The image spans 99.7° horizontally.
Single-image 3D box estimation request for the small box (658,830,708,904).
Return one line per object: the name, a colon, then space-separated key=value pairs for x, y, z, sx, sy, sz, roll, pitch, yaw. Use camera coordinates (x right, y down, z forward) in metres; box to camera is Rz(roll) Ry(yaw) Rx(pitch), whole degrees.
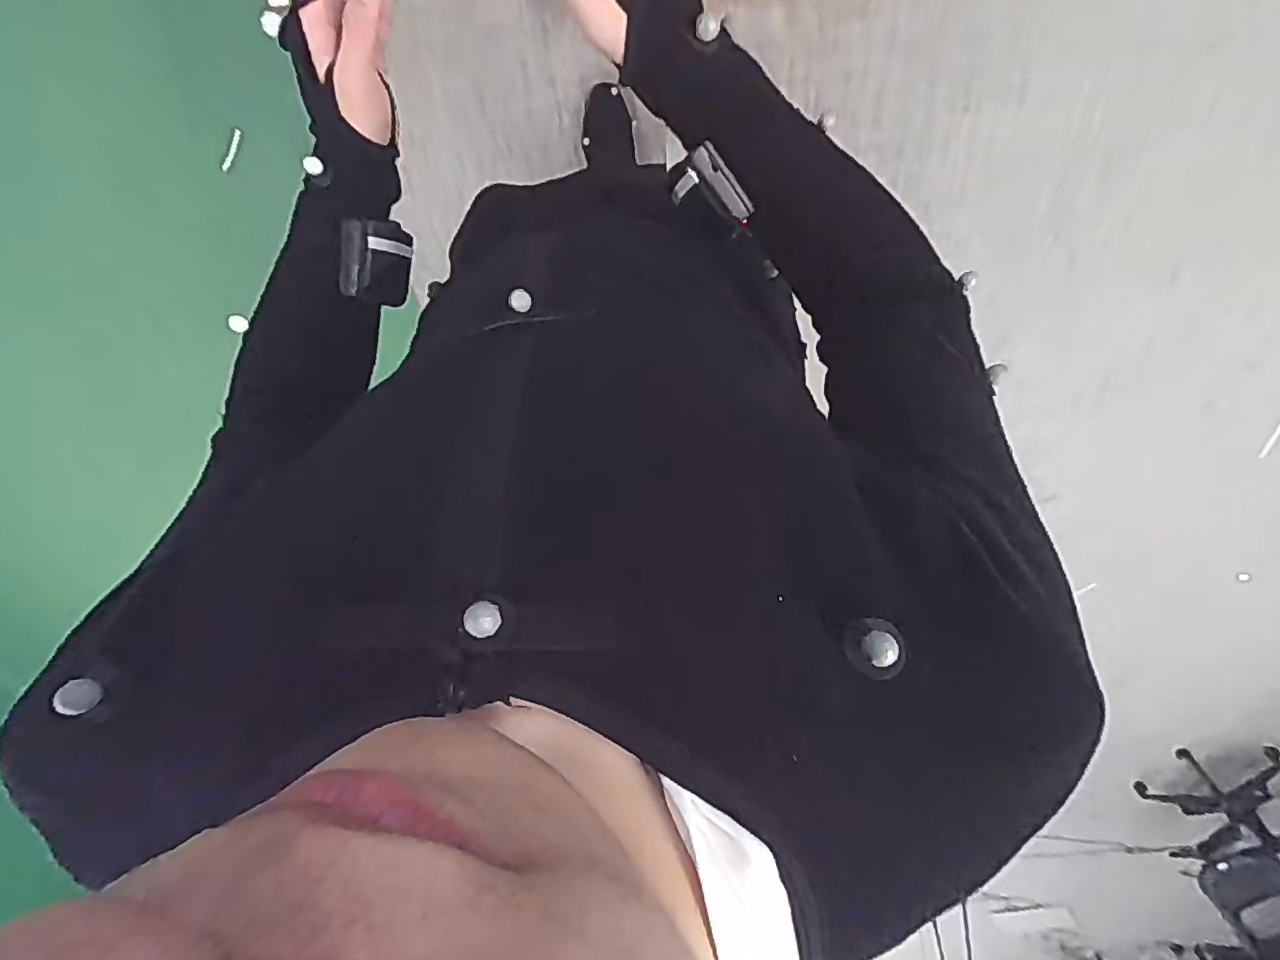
small box: x=0.157 y=1.379 z=1.926 sx=0.168 sy=0.176 sz=0.179 roll=-3 pitch=126 yaw=6
